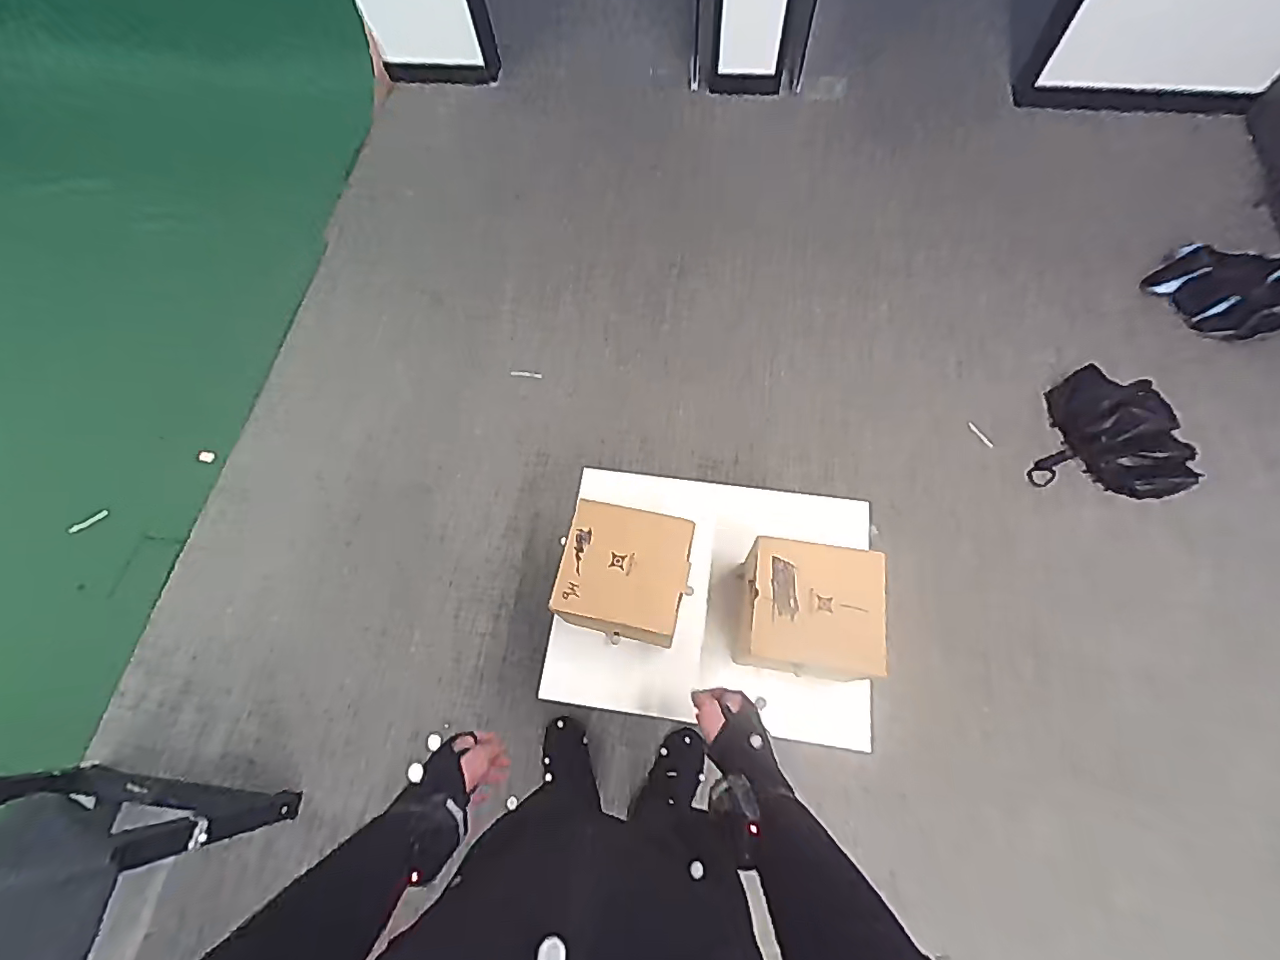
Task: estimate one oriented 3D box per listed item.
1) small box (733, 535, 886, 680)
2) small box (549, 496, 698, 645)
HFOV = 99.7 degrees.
[{"bbox_3d":[0.238,0.193,0.790,0.179,0.176,0.168,9,67,3],"label":"small box"},{"bbox_3d":[-0.022,0.144,0.811,0.179,0.176,0.168,12,67,3],"label":"small box"}]
